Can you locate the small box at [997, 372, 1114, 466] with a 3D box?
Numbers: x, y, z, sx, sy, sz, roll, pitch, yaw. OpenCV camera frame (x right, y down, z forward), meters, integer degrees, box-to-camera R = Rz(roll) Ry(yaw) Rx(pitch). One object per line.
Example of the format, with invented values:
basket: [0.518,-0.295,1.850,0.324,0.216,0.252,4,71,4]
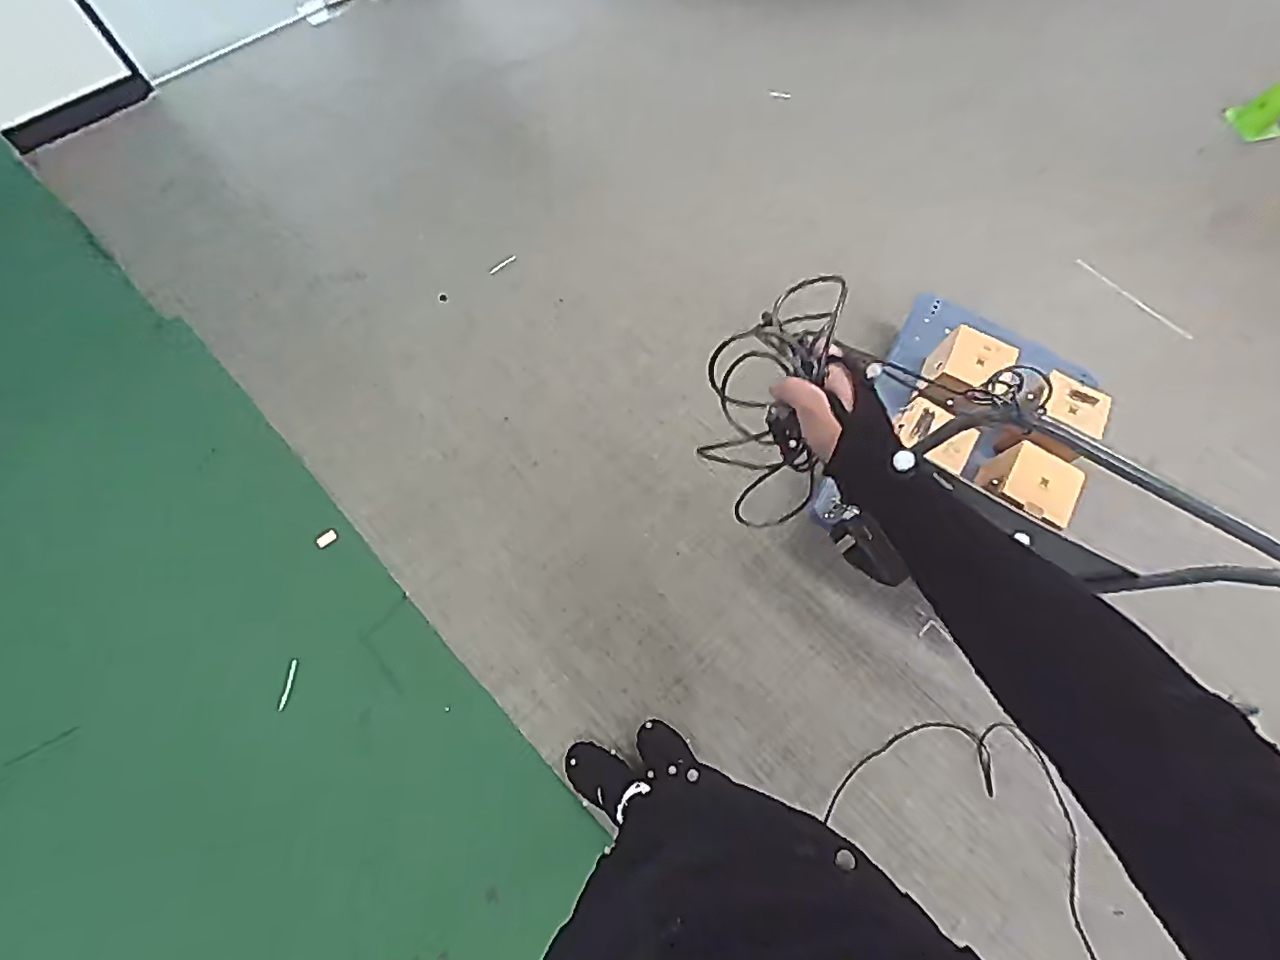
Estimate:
small box: [1.107,-0.148,1.453,0.168,0.176,0.179,29,72,8]

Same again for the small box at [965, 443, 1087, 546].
small box: [0.972,0.043,1.377,0.168,0.176,0.179,33,72,8]

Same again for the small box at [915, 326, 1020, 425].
small box: [0.890,-0.279,1.488,0.168,0.176,0.179,28,71,6]
